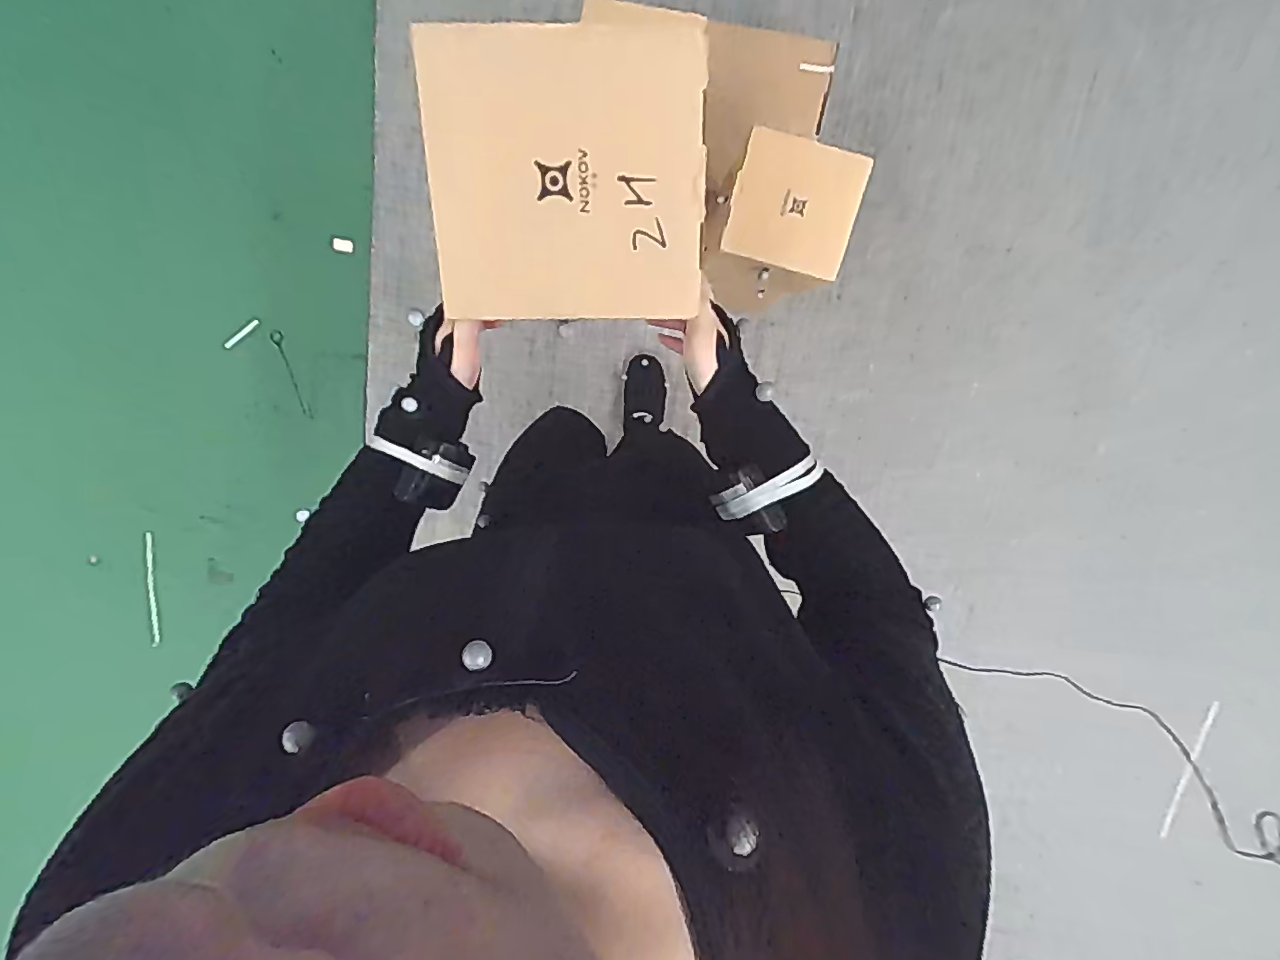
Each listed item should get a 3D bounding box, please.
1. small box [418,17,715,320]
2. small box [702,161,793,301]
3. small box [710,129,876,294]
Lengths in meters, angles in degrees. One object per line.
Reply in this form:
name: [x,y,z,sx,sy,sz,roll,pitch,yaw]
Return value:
small box: [-0.047,-0.213,0.414,0.179,0.176,0.168,1,109,-2]
small box: [0.214,-0.435,0.980,0.168,0.176,0.179,14,101,-3]
small box: [0.218,-0.391,0.823,0.179,0.176,0.168,15,102,-2]
